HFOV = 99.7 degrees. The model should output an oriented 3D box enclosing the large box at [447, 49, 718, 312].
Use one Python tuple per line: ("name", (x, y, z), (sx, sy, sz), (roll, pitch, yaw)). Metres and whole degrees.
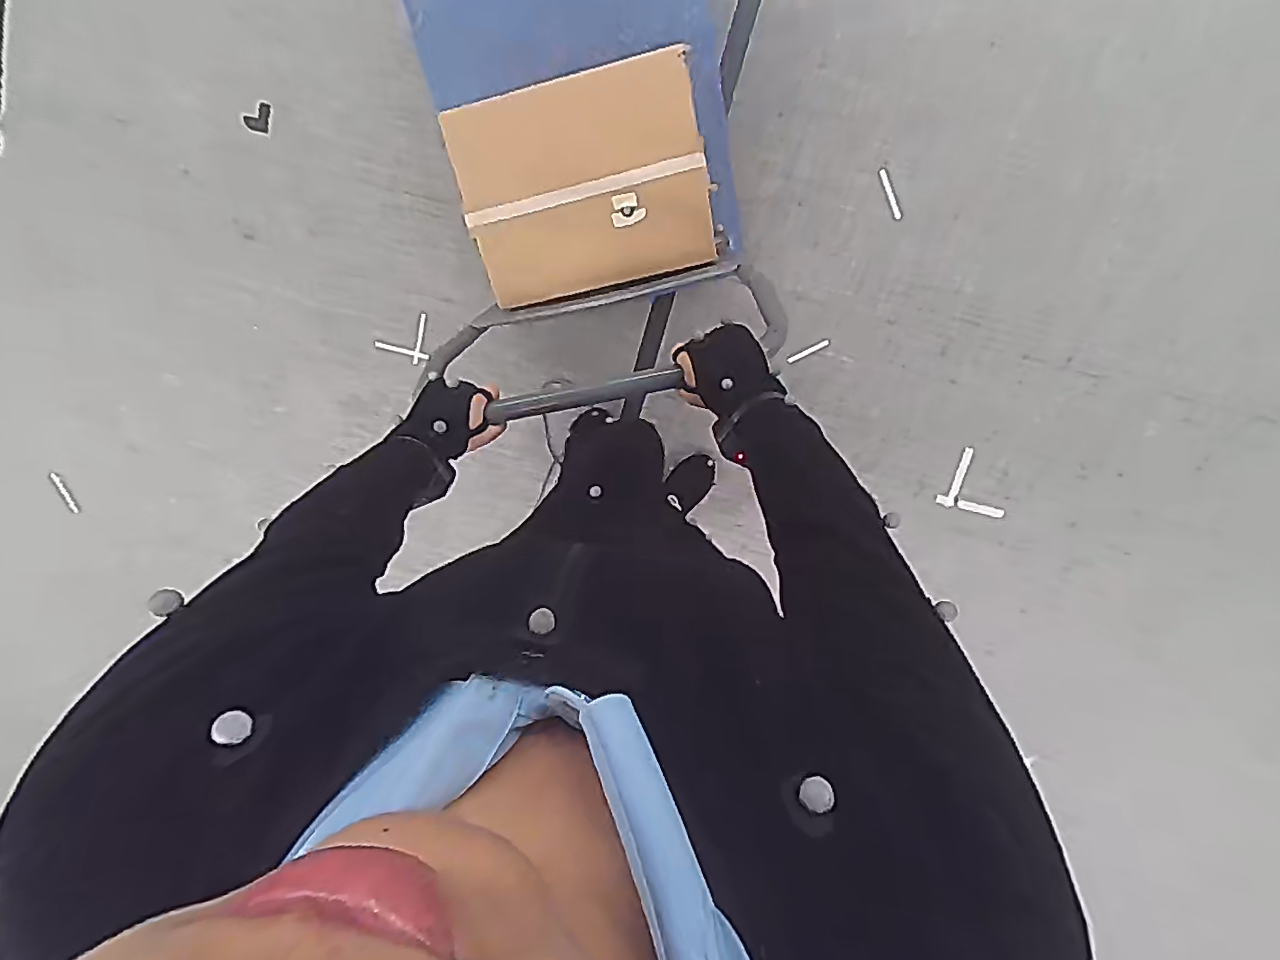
("large box", (-0.088, -0.549, 1.051), (0.408, 0.320, 0.320), (-12, 115, 7))
